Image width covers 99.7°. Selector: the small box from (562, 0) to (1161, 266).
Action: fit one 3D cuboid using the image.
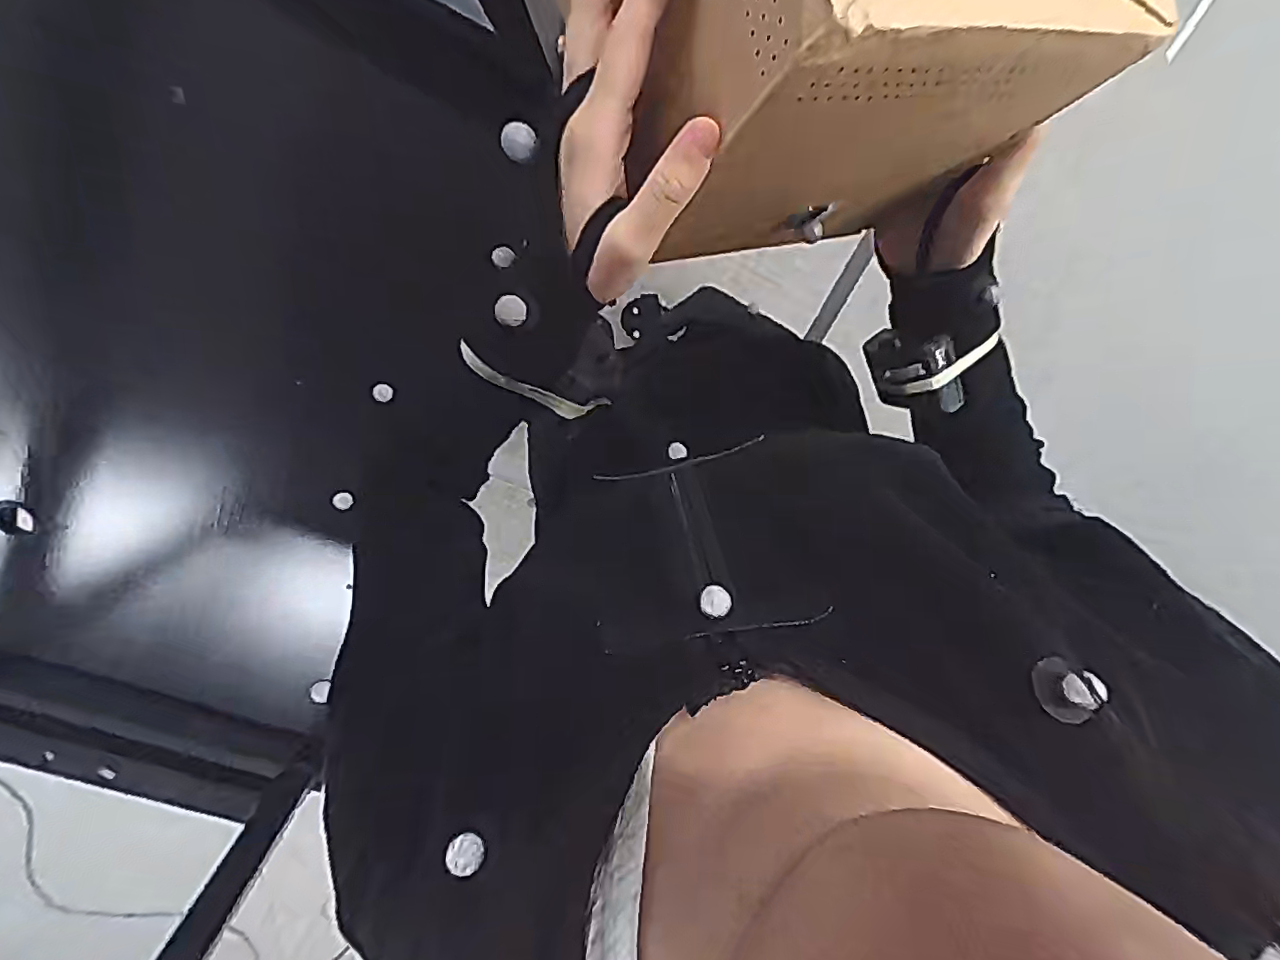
[{"bbox_3d":[0.081,-0.222,0.246,0.179,0.176,0.168,-17,93,-21],"label":"small box"}]
